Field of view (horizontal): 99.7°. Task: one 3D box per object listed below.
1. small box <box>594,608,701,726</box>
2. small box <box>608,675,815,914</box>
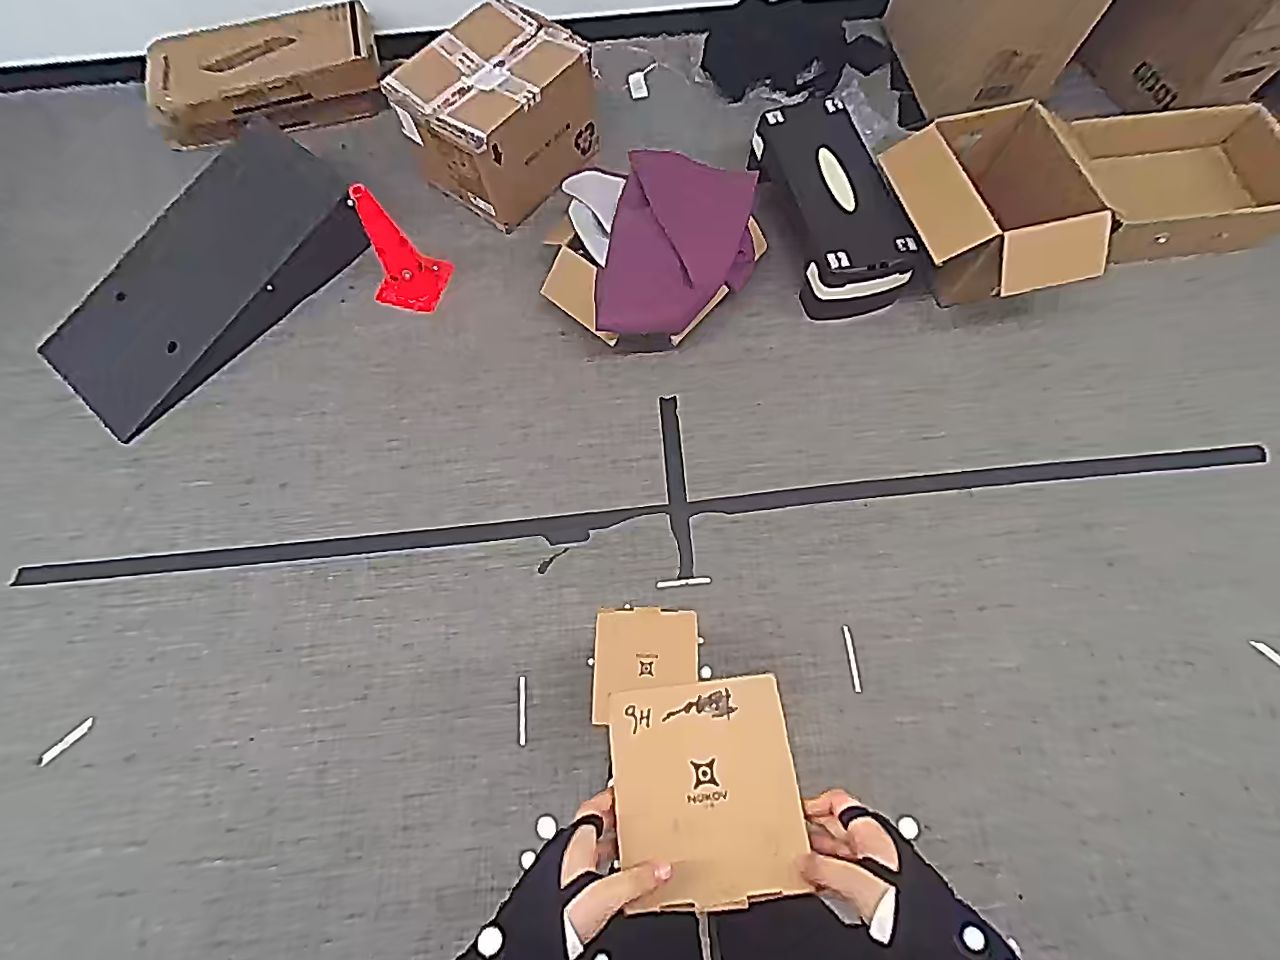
[{"bbox_3d":[0.015,0.317,0.917,0.168,0.176,0.179,0,71,2],"label":"small box"},{"bbox_3d":[0.062,0.304,0.555,0.168,0.176,0.179,-7,66,-1],"label":"small box"}]
